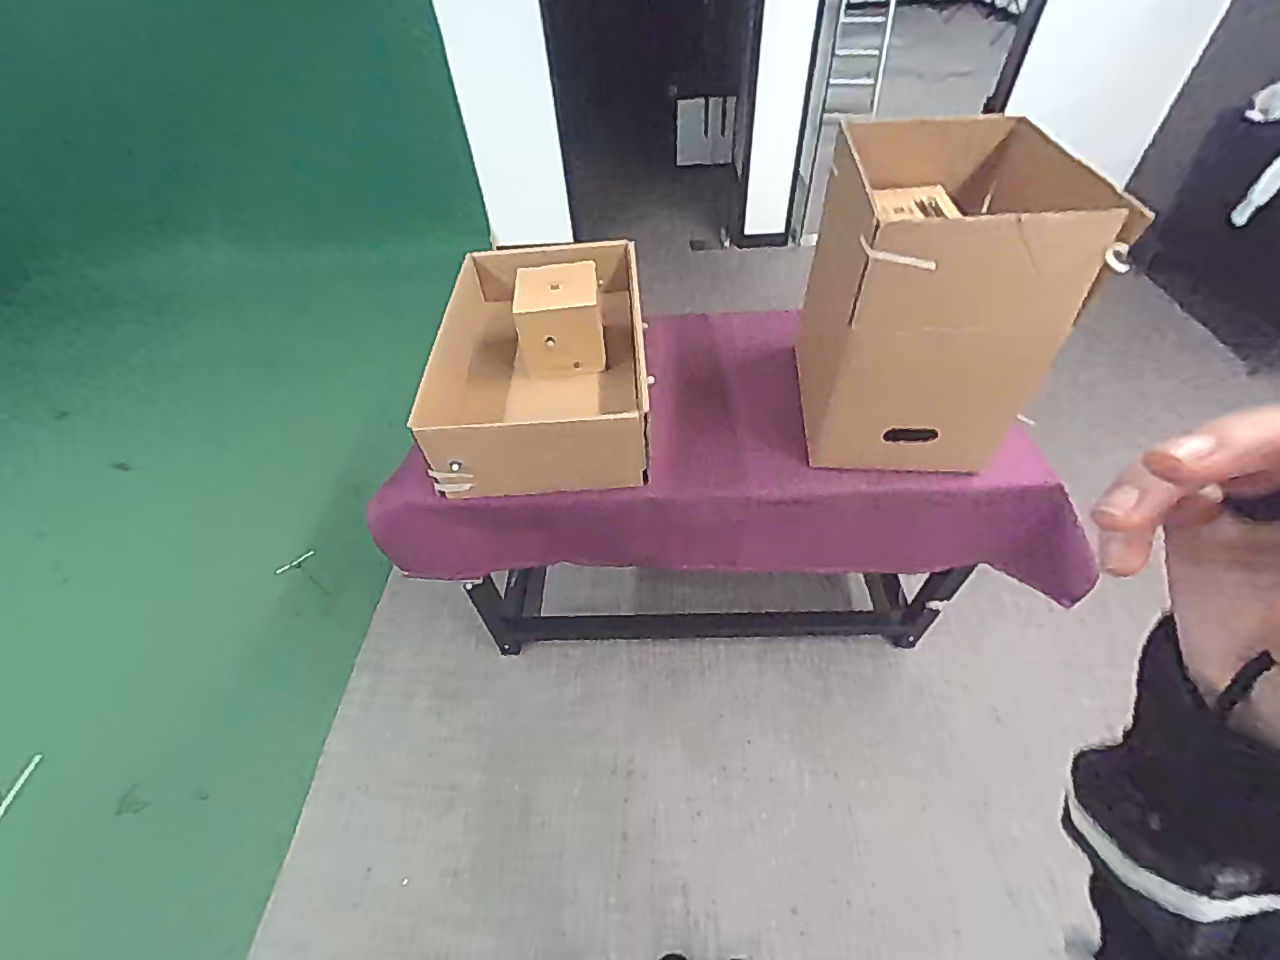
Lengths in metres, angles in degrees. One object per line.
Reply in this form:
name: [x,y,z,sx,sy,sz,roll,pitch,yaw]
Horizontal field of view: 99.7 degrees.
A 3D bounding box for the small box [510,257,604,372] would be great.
small box: [-0.170,-0.346,1.154,0.168,0.176,0.179,-7,49,0]
